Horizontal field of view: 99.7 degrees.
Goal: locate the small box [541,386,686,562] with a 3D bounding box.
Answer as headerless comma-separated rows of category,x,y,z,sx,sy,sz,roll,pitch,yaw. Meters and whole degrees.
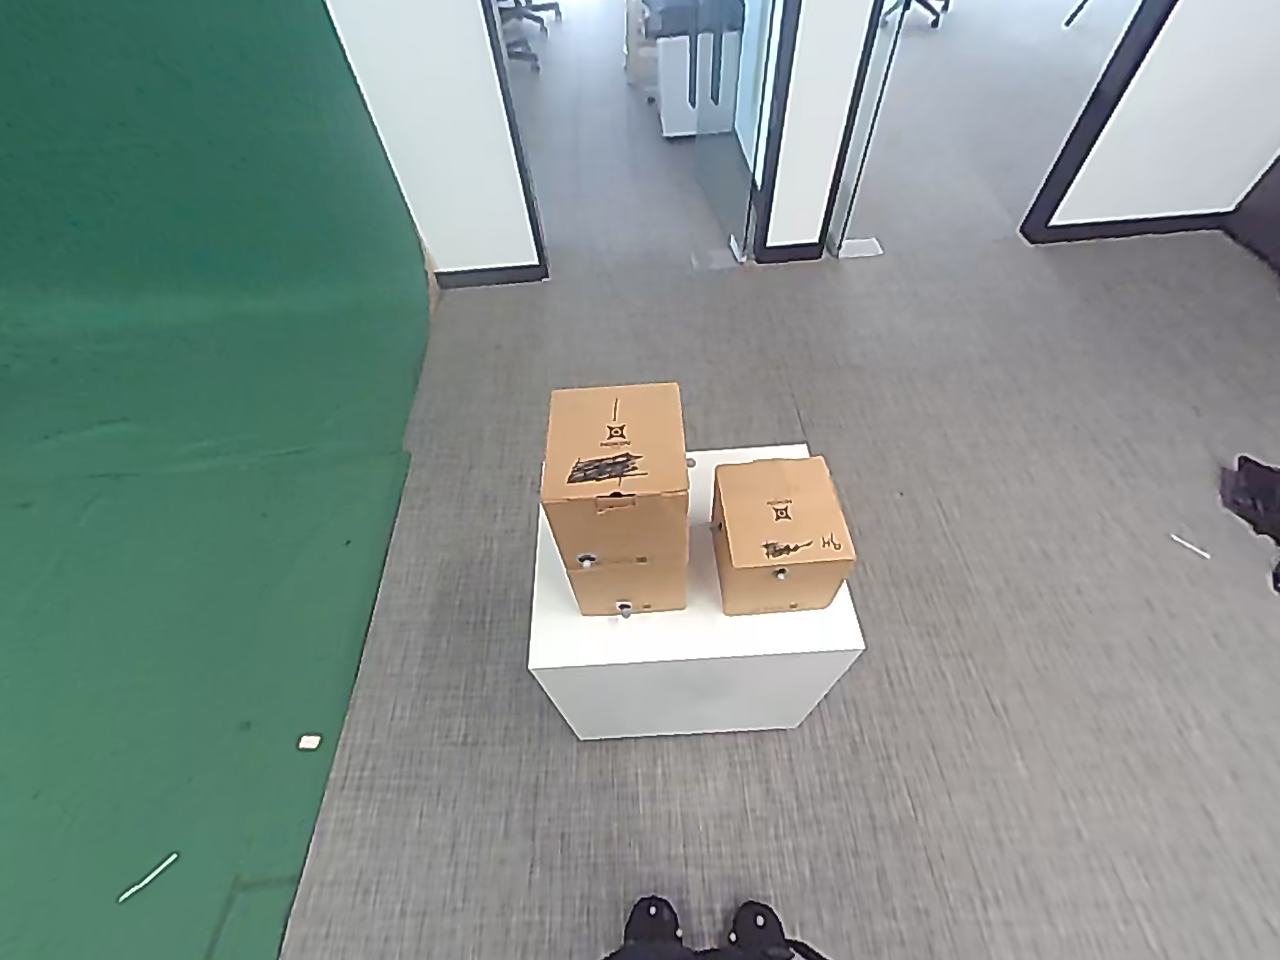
small box,-0.026,0.000,0.717,0.168,0.176,0.179,-3,52,2

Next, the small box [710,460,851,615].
small box,0.202,0.091,0.836,0.168,0.176,0.179,-4,53,1

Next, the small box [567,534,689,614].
small box,-0.018,0.088,0.836,0.168,0.176,0.179,-6,55,0
